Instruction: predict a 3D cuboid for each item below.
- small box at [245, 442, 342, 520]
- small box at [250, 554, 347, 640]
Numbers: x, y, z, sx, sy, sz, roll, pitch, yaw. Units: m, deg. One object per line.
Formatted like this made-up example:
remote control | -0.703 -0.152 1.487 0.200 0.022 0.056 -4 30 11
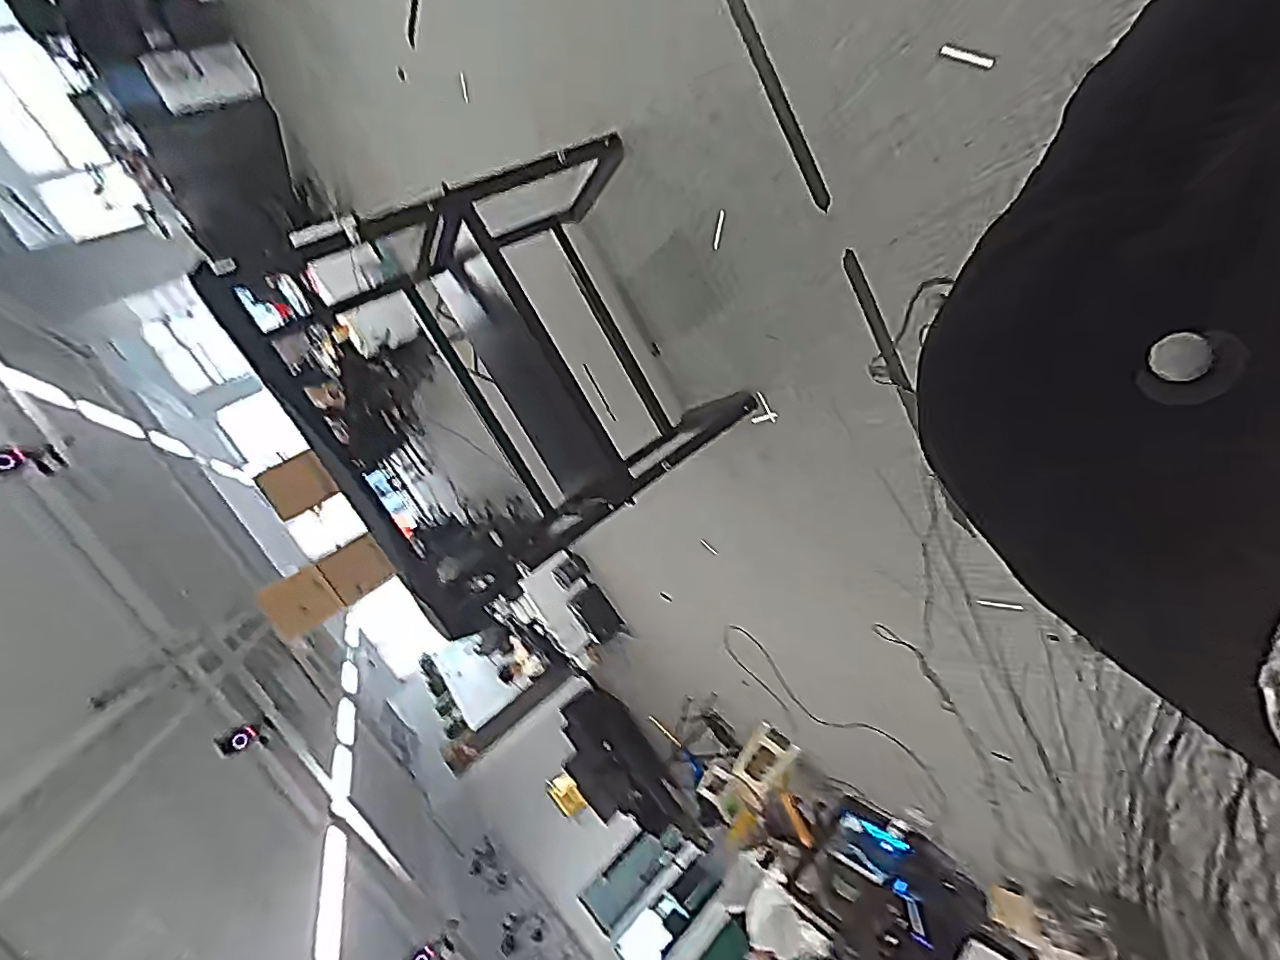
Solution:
small box | -0.996 0.000 1.572 0.168 0.176 0.179 61 157 -12
small box | -0.975 0.329 1.560 0.168 0.176 0.179 60 156 -11
